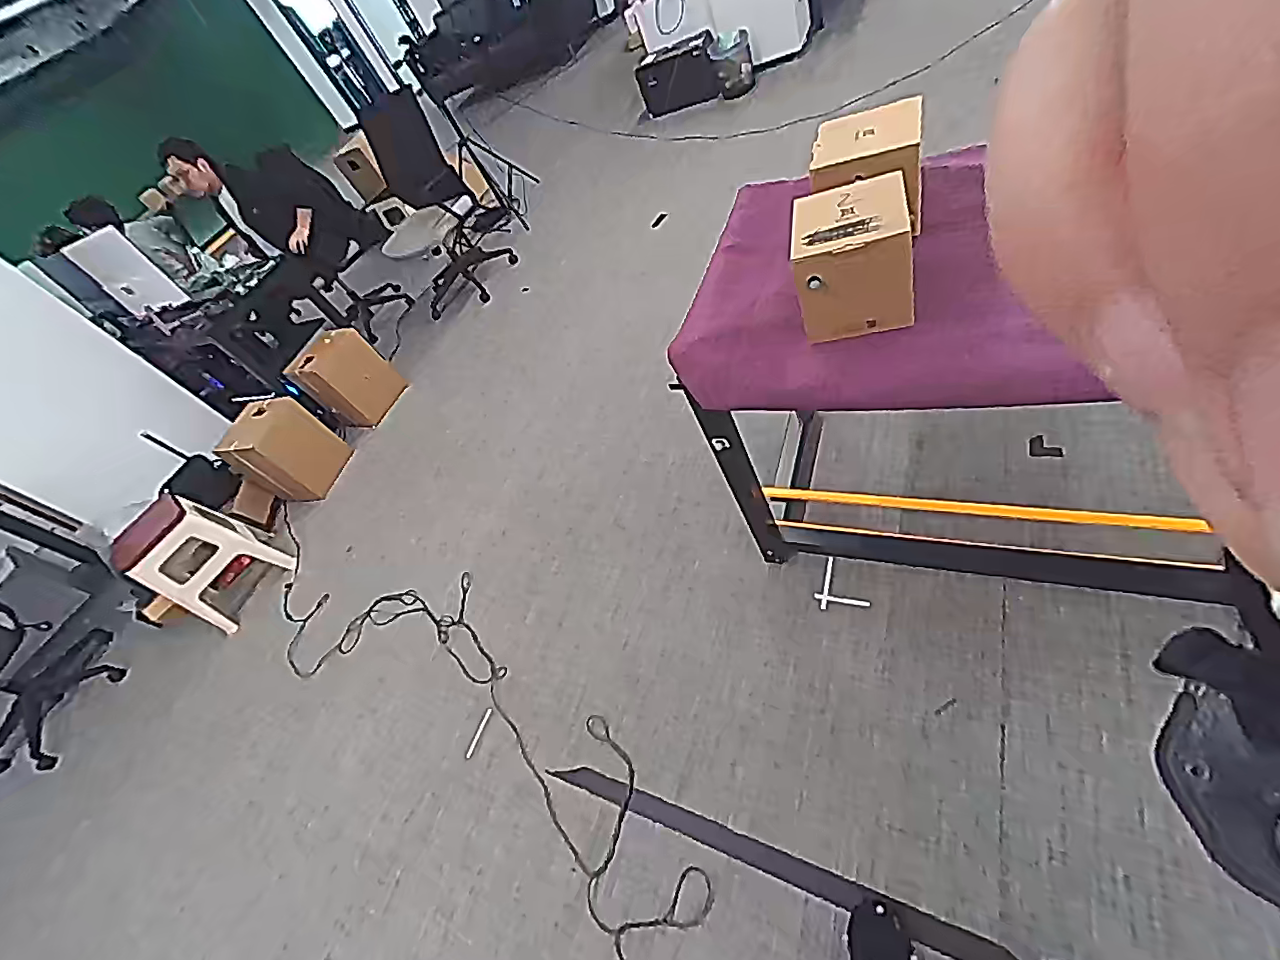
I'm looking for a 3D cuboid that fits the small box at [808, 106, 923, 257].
[{"bbox_3d":[0.423,-0.544,1.004,0.179,0.176,0.168,1,55,28],"label":"small box"}]
